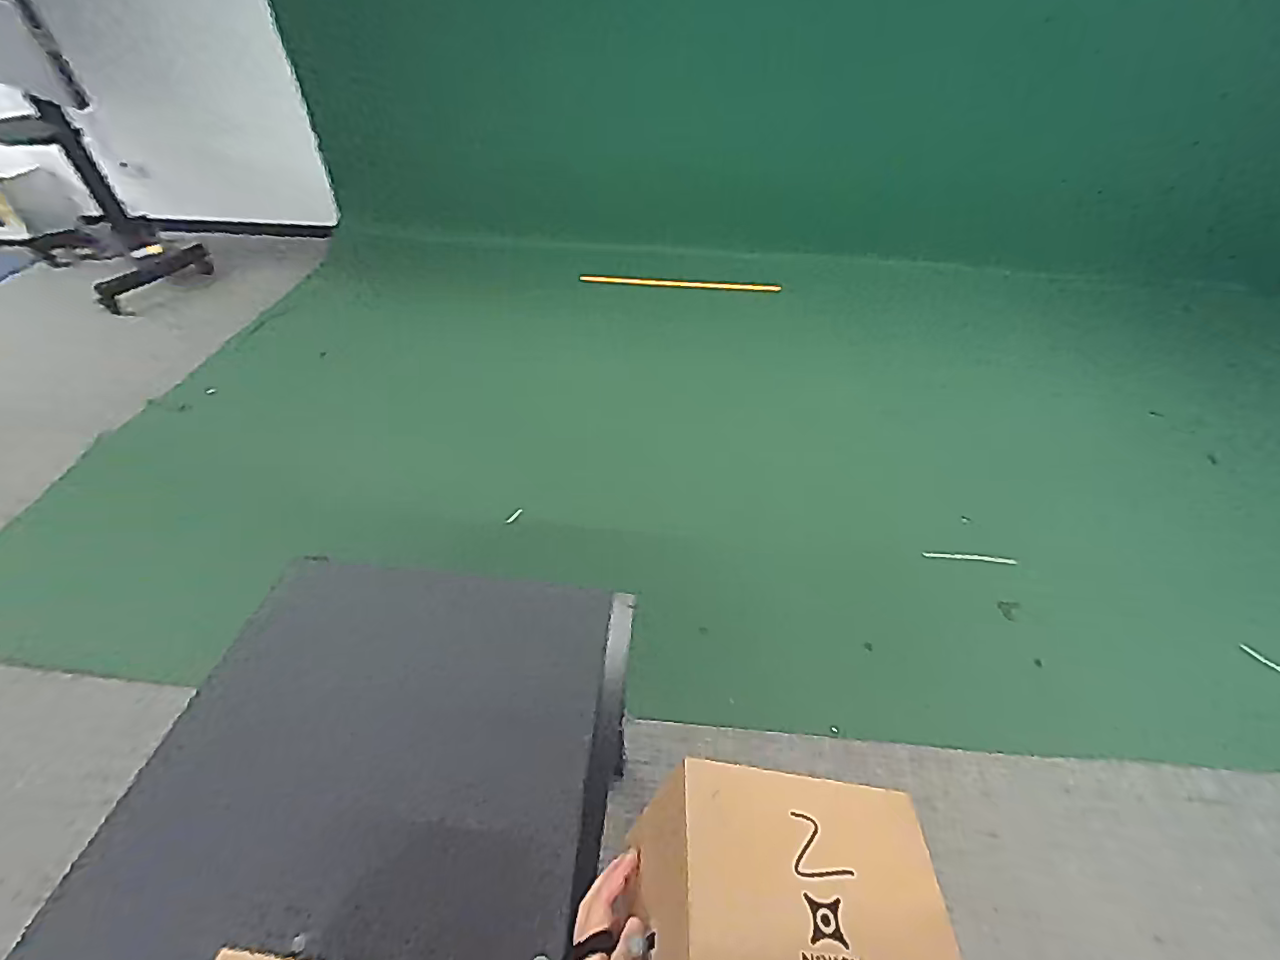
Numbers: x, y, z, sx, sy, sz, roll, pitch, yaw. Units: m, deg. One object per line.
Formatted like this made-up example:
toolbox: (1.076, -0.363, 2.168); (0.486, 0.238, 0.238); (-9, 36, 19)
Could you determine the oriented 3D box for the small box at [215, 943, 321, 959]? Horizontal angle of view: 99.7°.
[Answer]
small box: (-0.277, 0.511, 0.446); (0.179, 0.176, 0.168); (6, 45, 5)
